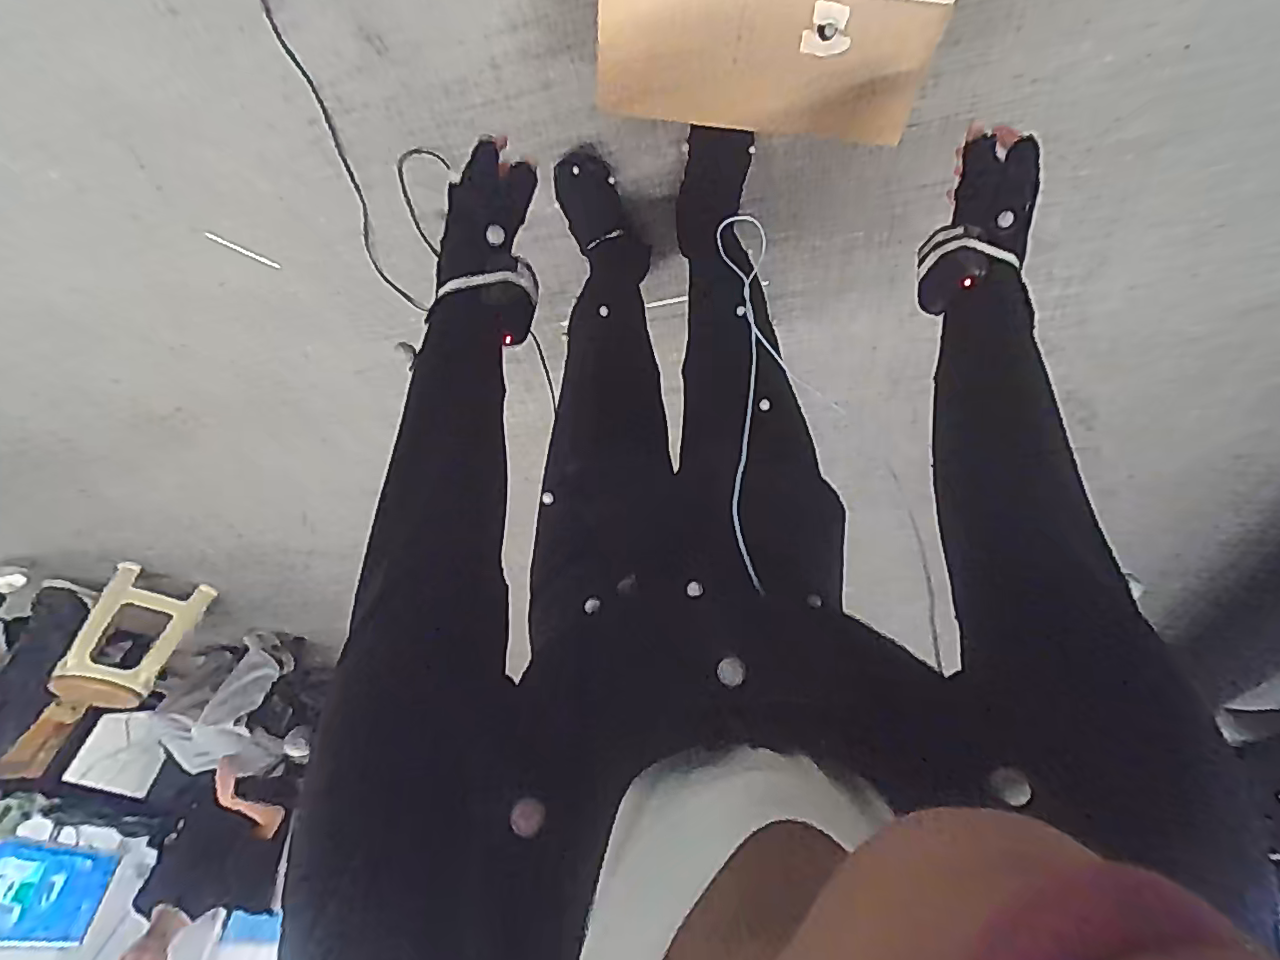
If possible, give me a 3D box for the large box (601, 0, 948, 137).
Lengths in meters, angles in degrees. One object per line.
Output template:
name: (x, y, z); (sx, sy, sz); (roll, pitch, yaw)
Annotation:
large box: (0.157, -0.680, 0.699); (0.408, 0.320, 0.320); (4, 139, -4)
